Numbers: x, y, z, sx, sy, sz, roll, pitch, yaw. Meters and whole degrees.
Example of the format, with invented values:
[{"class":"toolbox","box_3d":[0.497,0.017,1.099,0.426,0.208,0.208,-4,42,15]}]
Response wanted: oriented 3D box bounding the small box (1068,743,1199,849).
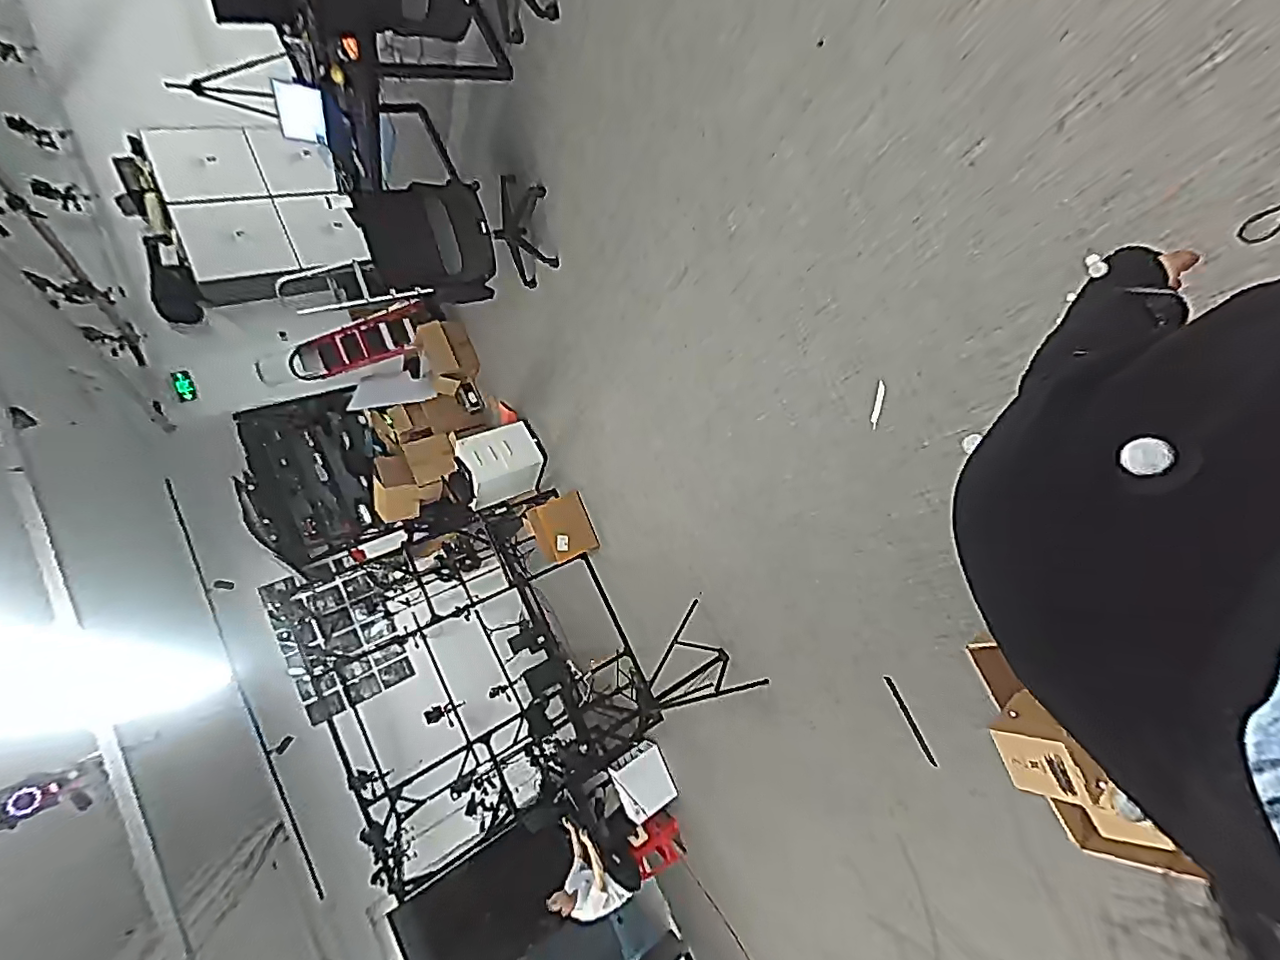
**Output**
[{"class":"small box","box_3d":[1.247,0.780,1.361,0.168,0.176,0.179,65,151,10]}]
